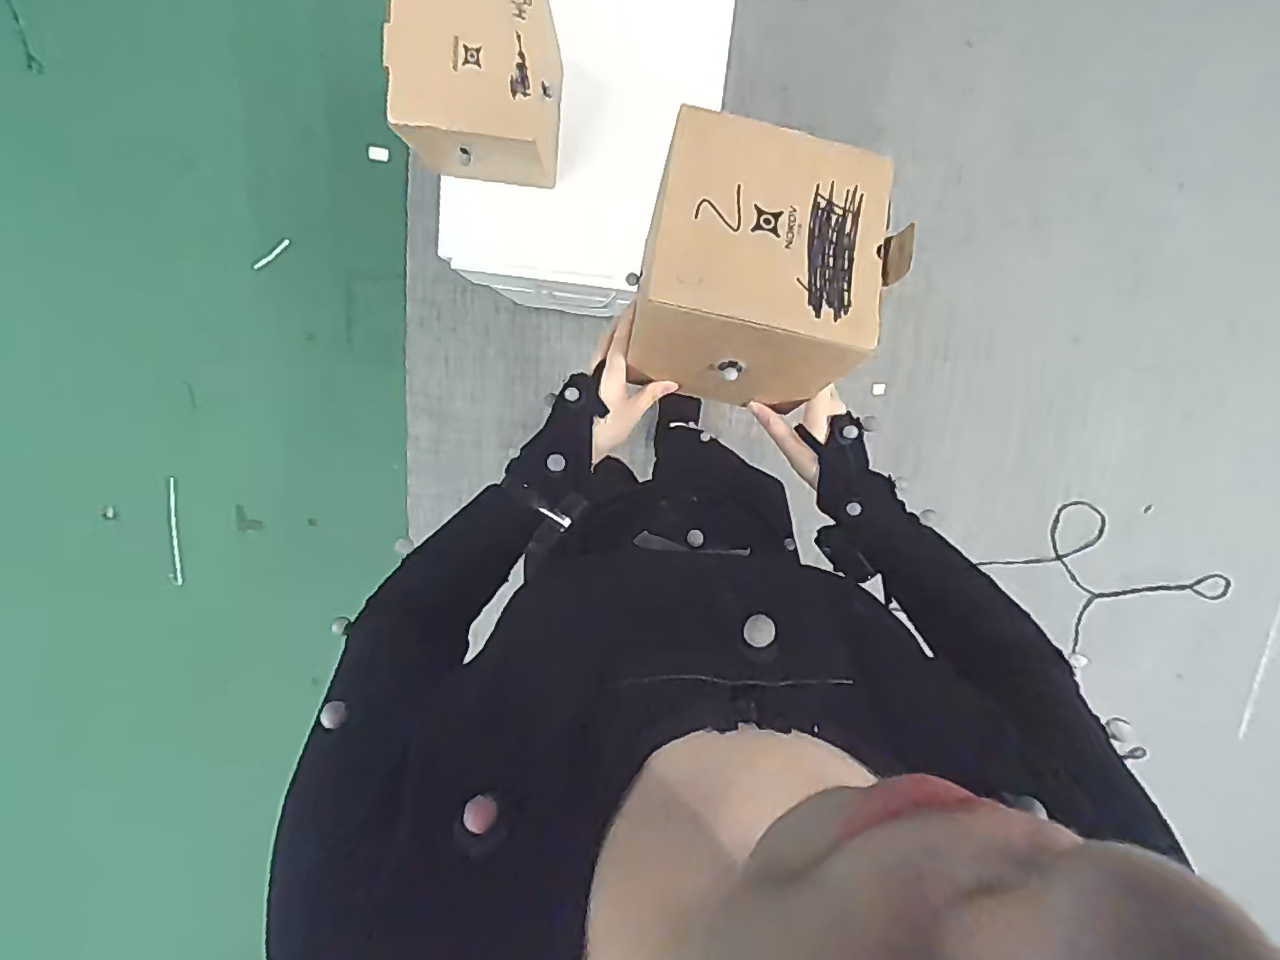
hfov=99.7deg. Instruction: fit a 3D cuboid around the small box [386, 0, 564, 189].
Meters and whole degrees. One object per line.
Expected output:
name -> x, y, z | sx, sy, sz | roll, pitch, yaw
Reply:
small box -> -0.201, -0.495, 0.696 | 0.179, 0.176, 0.168 | 6, 101, -2
